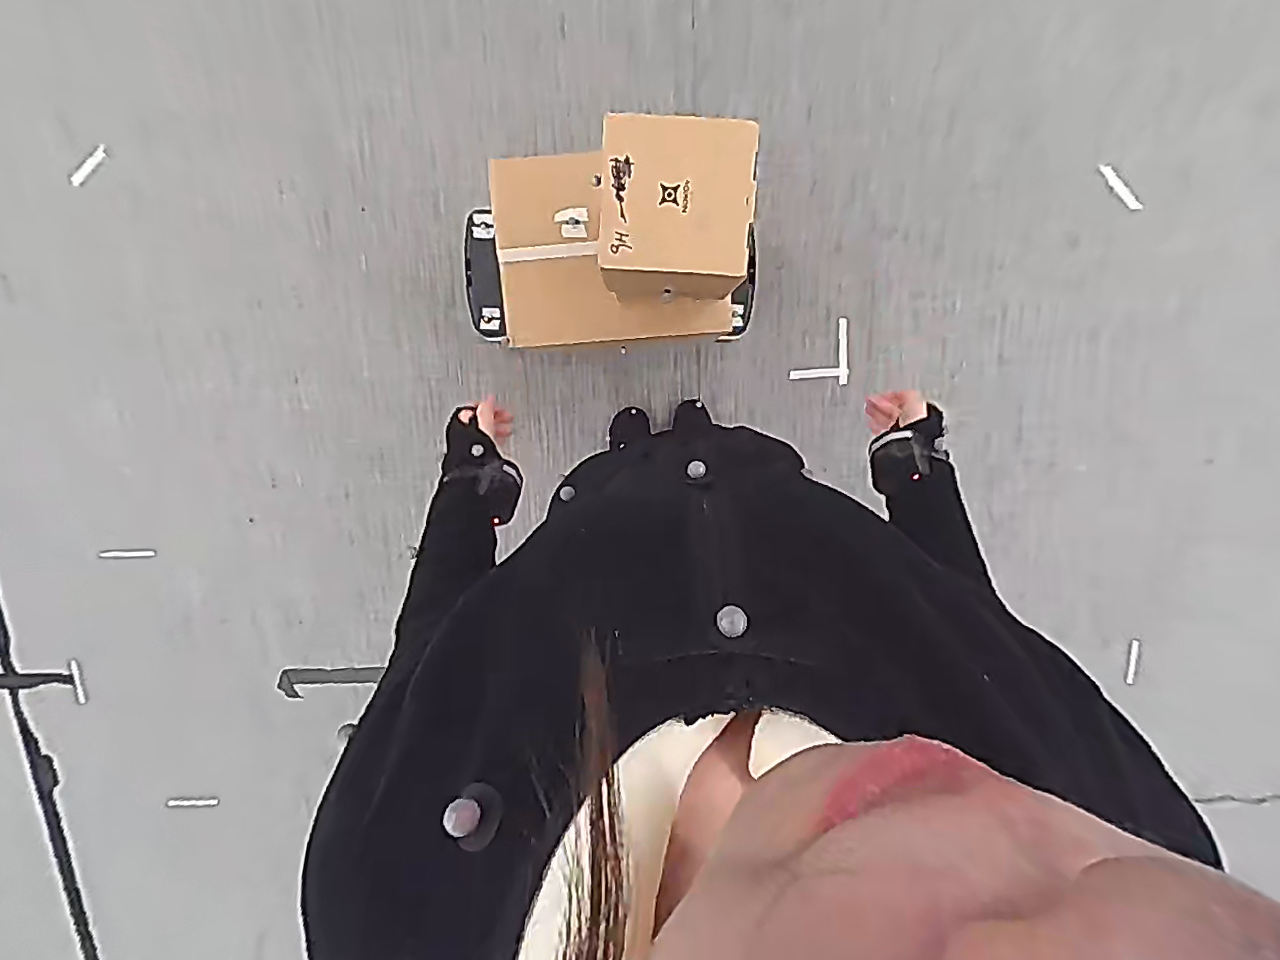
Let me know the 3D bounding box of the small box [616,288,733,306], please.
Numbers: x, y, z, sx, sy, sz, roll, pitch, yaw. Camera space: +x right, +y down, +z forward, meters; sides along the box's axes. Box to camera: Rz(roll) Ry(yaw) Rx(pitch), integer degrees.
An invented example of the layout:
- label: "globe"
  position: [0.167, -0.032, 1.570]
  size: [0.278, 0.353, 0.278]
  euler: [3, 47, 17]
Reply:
- label: "small box"
  position: [0.049, -0.369, 0.842]
  size: [0.179, 0.176, 0.168]
  euler: [-1, 100, 1]

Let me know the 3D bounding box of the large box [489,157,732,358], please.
- label: "large box"
  position: [-0.043, -0.421, 1.081]
  size: [0.408, 0.320, 0.320]
  euler: [-4, 99, 2]

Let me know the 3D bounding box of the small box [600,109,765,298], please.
- label: "small box"
  position: [0.044, -0.331, 0.682]
  size: [0.179, 0.176, 0.168]
  euler: [4, 99, -2]
